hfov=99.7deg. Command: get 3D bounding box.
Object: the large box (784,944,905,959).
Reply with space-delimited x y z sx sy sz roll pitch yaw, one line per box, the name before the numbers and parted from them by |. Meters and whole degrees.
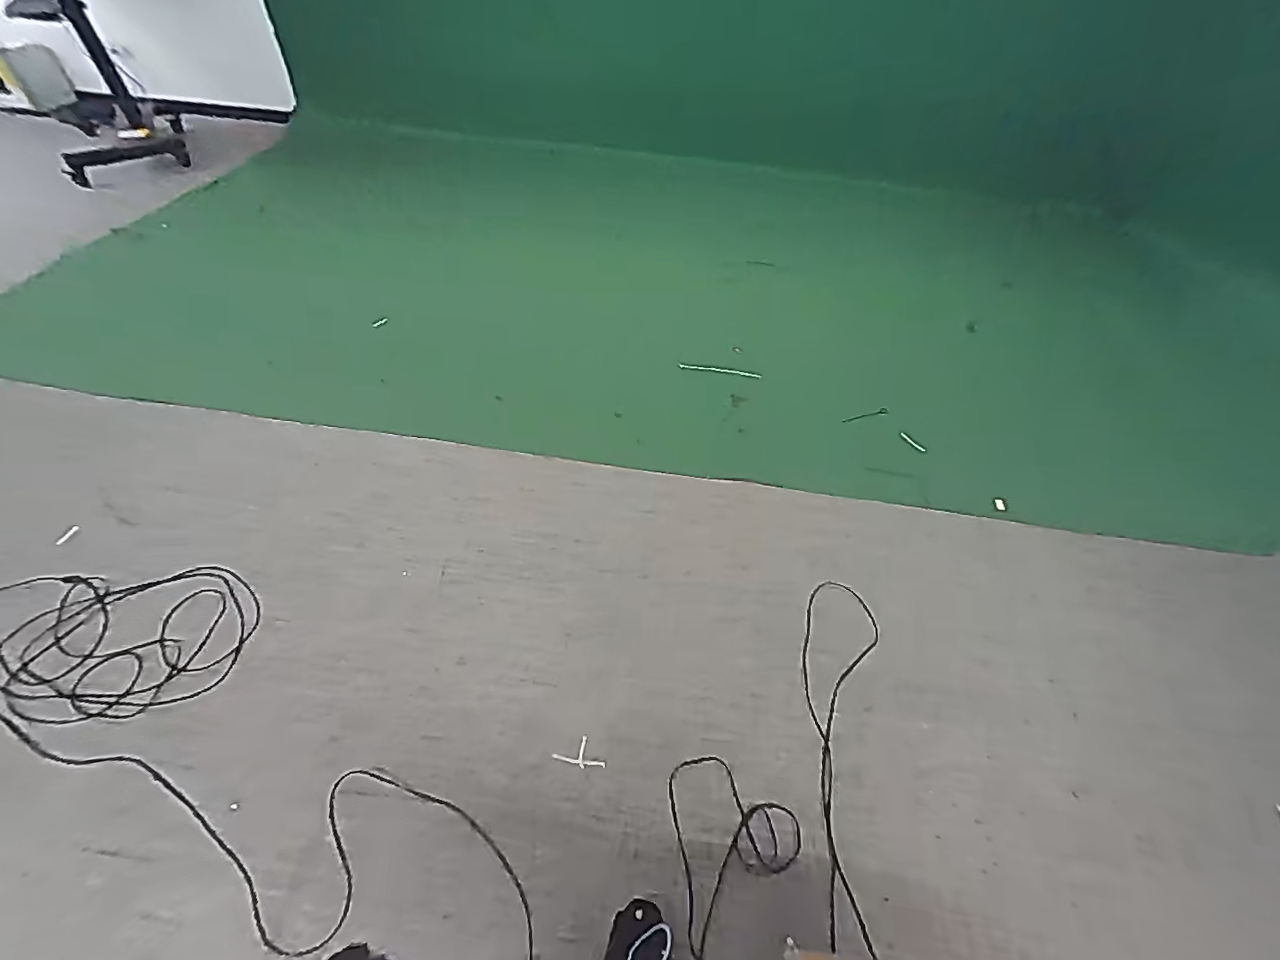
large box | 0.339 0.826 0.583 0.320 0.408 0.320 7 80 5
